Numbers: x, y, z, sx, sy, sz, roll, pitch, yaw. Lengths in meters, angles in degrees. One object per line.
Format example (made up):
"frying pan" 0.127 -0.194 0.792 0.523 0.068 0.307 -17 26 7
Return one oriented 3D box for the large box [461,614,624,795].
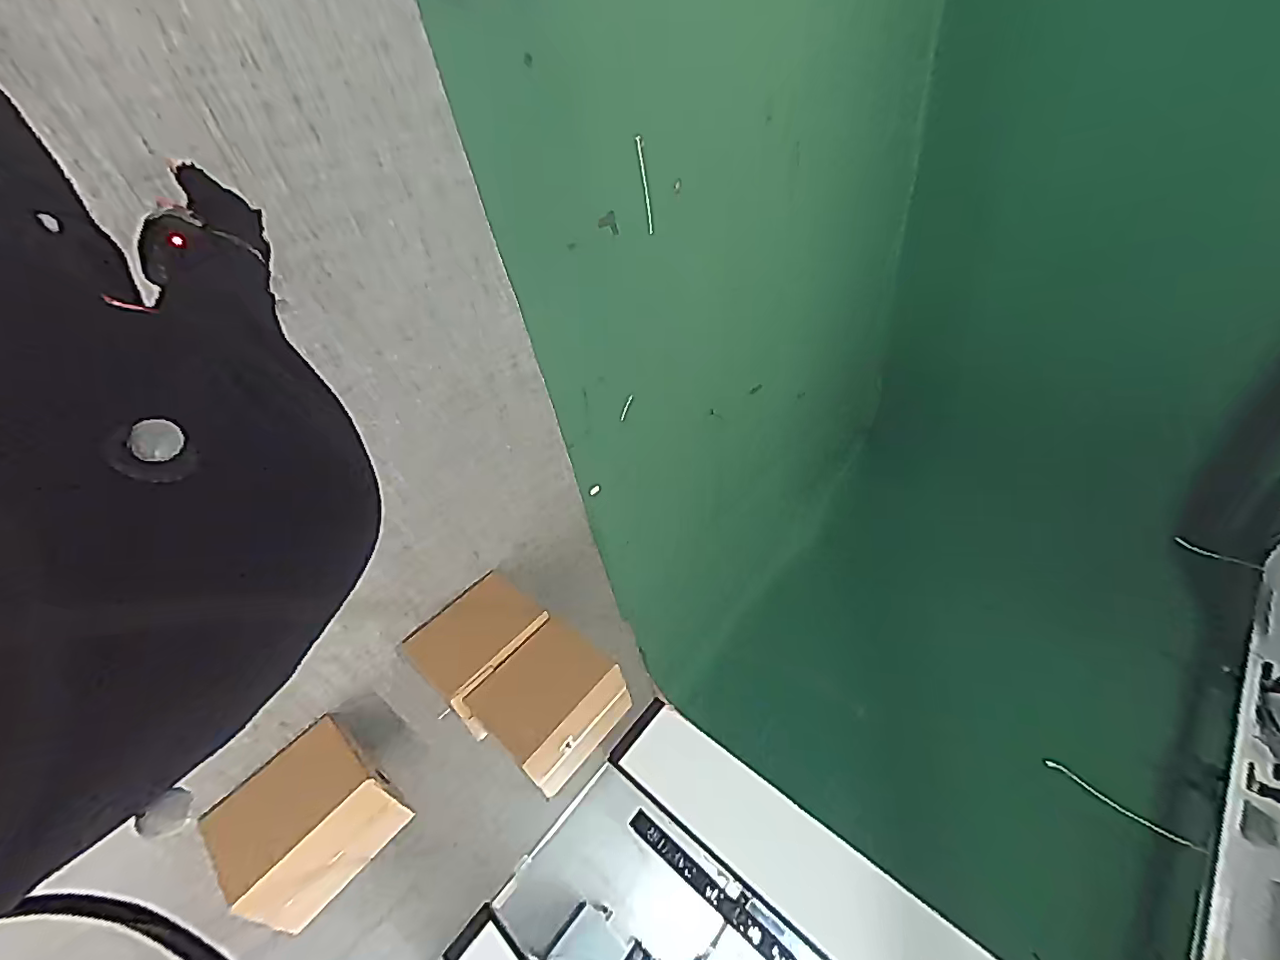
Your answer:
"large box" -0.312 0.740 1.817 0.408 0.320 0.320 -41 141 -29
